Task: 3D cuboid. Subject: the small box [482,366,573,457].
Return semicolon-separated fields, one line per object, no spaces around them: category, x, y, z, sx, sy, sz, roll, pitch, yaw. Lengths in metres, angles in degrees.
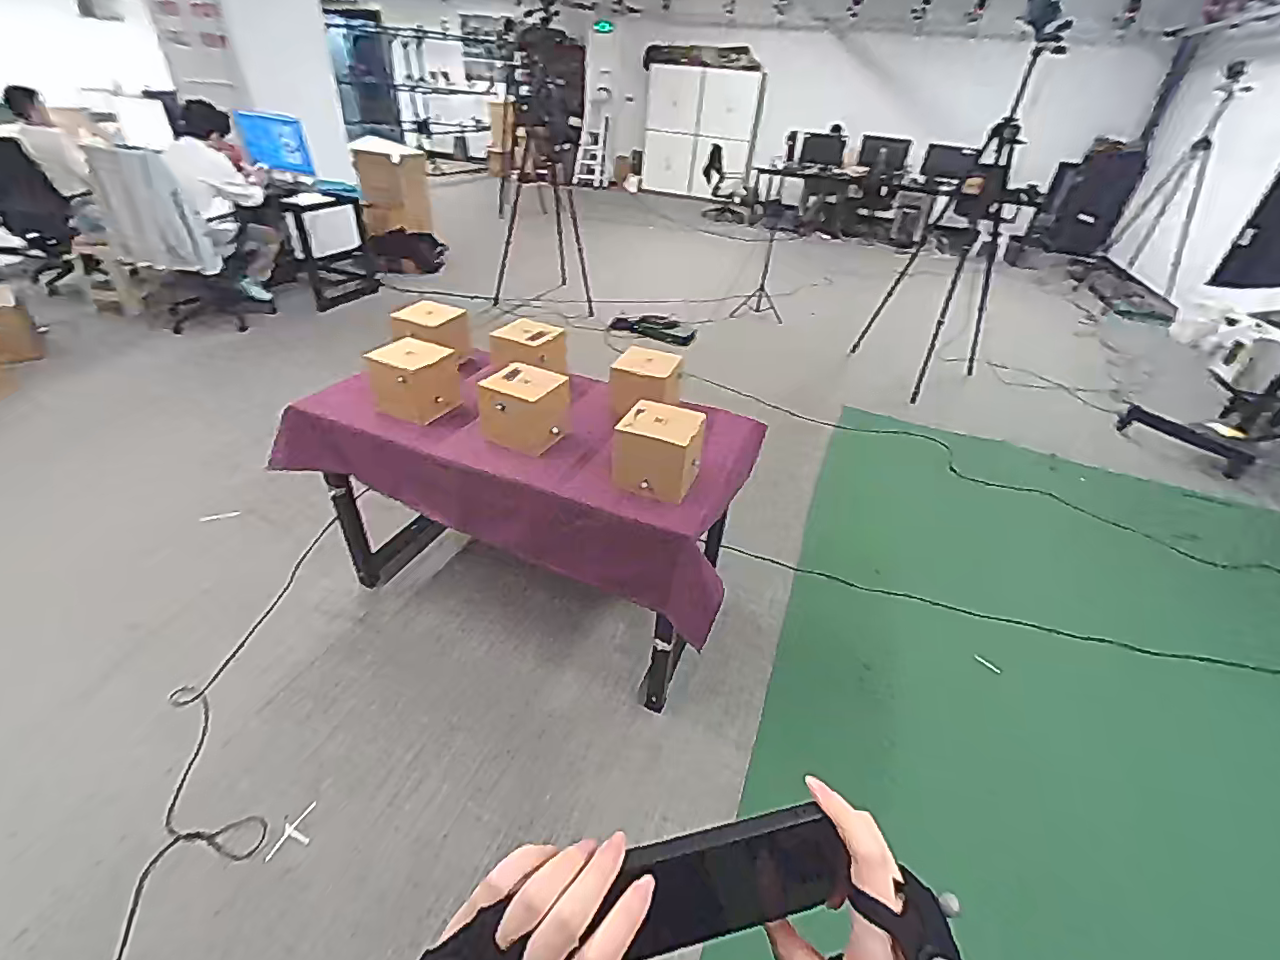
small box;-0.296;-0.182;1.443;0.179;0.176;0.168;20;38;19

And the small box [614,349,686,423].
small box;0.026;-0.265;1.595;0.168;0.176;0.179;15;37;15

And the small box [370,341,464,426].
small box;-0.625;-0.273;1.533;0.179;0.176;0.168;19;37;17

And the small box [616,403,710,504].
small box;0.053;-0.063;1.316;0.179;0.176;0.168;16;37;16
